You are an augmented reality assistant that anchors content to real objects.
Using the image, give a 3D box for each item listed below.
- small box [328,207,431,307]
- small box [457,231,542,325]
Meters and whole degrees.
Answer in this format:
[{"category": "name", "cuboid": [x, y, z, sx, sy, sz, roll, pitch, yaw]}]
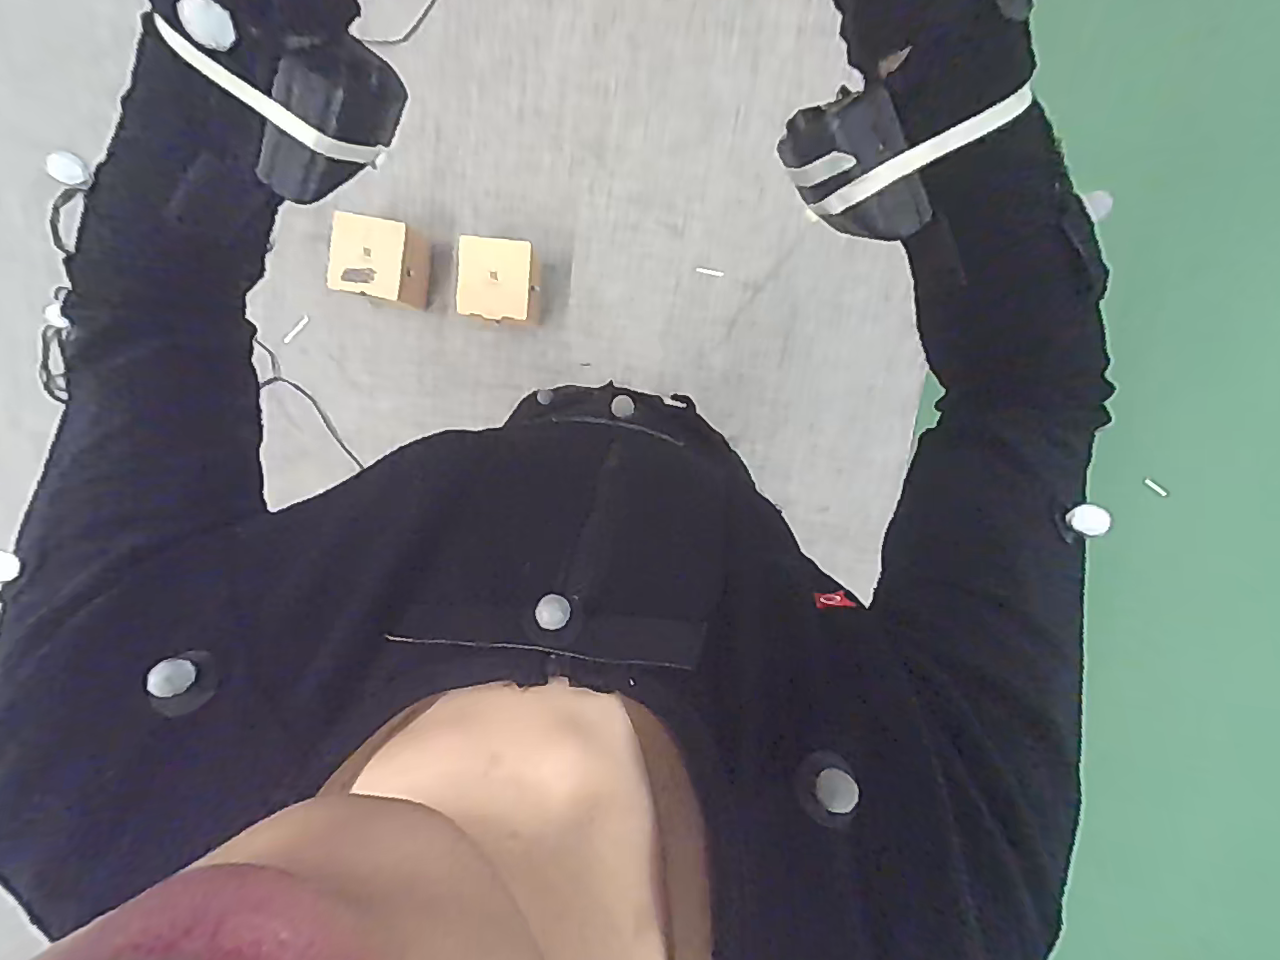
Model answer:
[{"category": "small box", "cuboid": [-0.623, -0.530, 1.310, 0.168, 0.176, 0.179, 10, 98, -2]}, {"category": "small box", "cuboid": [-0.336, -0.485, 1.321, 0.168, 0.176, 0.179, 5, 100, -1]}]
